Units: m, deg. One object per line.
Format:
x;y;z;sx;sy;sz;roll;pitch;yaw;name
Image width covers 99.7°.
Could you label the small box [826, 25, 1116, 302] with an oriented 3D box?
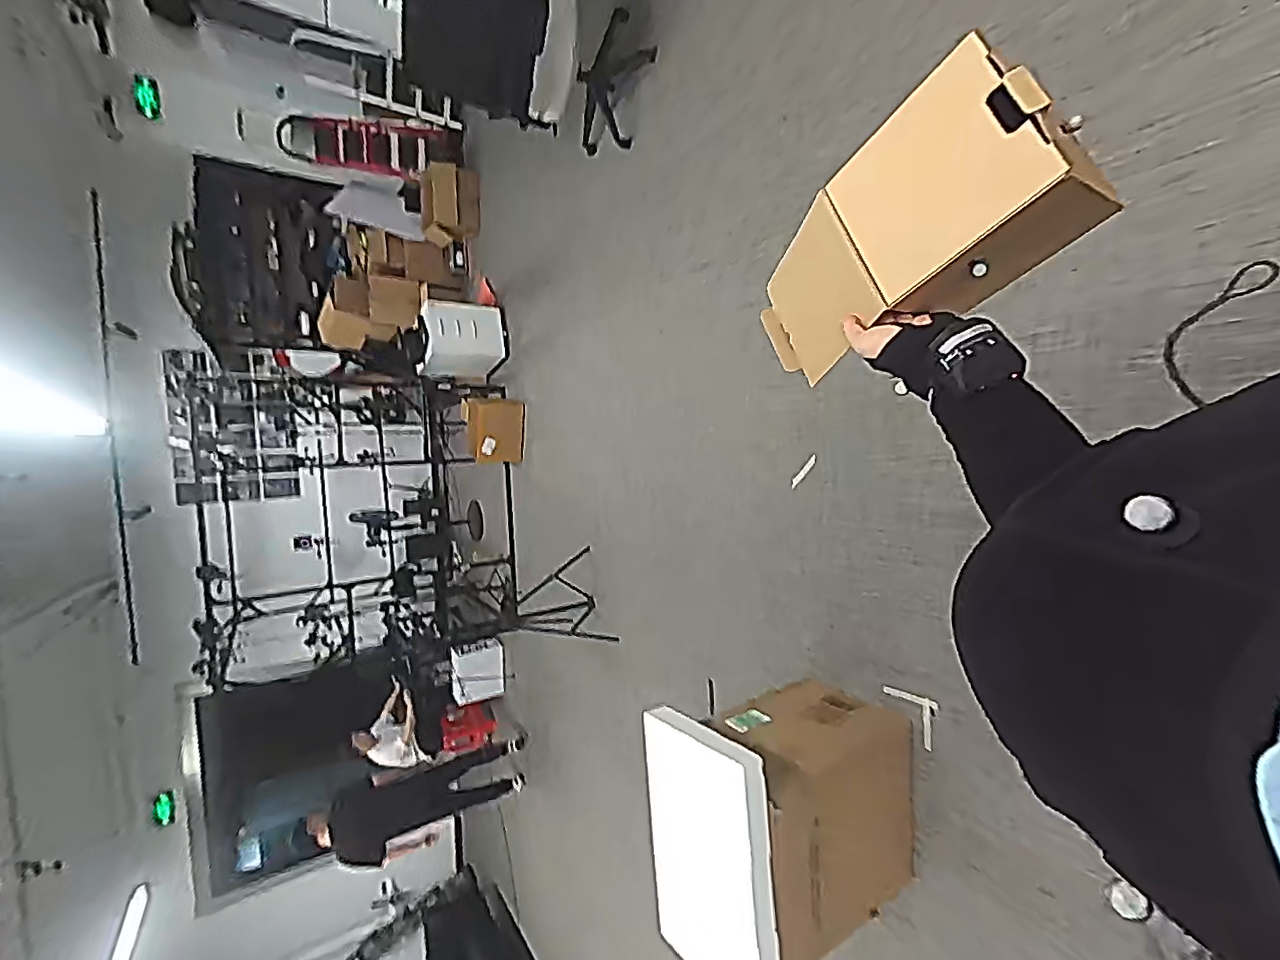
0.341;-0.305;0.568;0.179;0.176;0.168;-37;69;51;small box
